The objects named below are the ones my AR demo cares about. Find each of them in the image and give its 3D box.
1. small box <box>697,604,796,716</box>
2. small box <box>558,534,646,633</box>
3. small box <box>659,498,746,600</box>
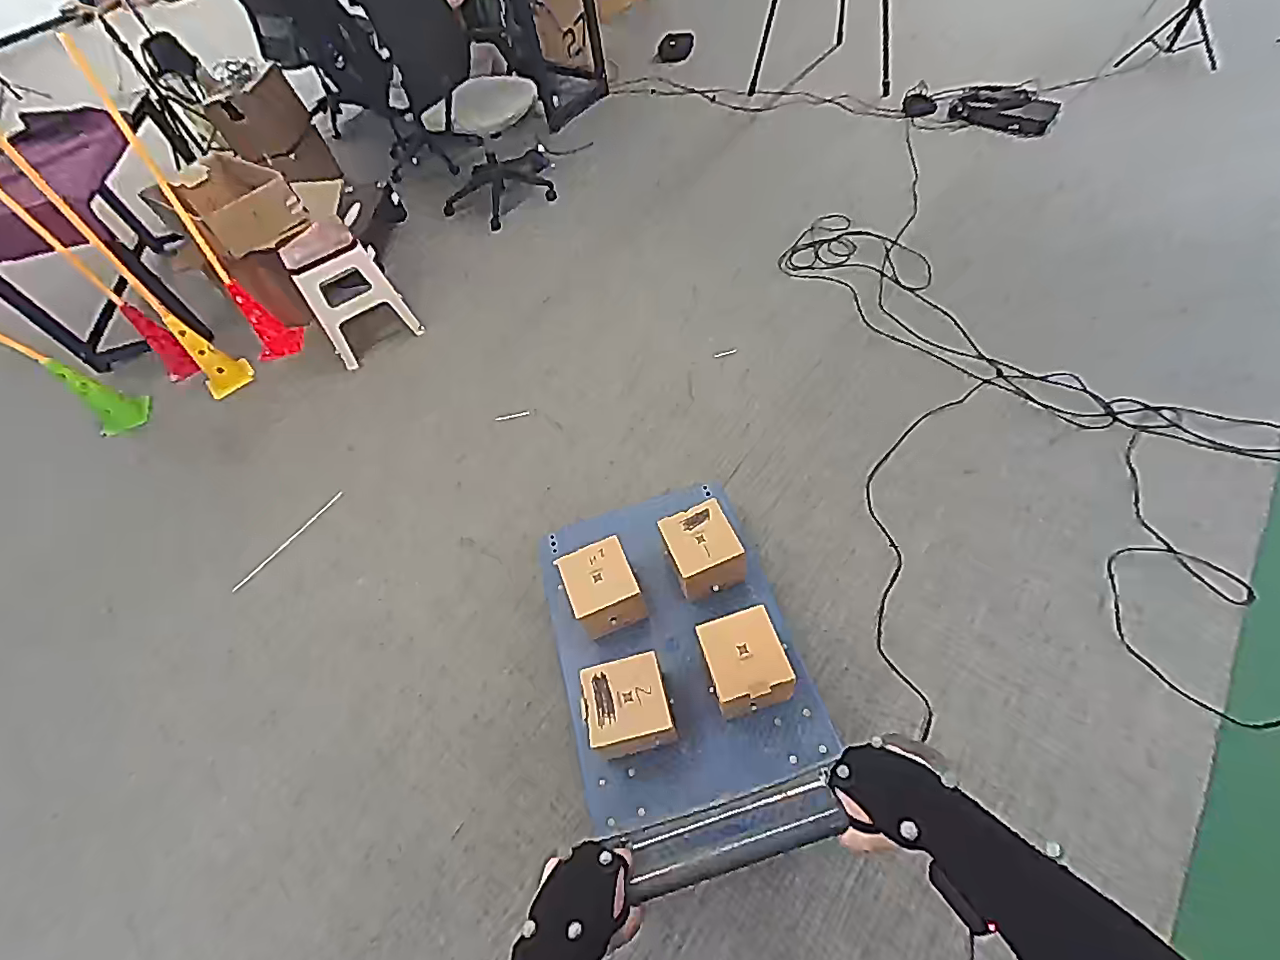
[{"bbox_3d":[0.236,0.415,1.237,0.168,0.176,0.179,-18,56,-3],"label":"small box"},{"bbox_3d":[-0.094,0.273,1.386,0.168,0.176,0.179,-21,56,-6],"label":"small box"},{"bbox_3d":[0.161,0.182,1.406,0.168,0.176,0.179,-22,56,-5],"label":"small box"}]
